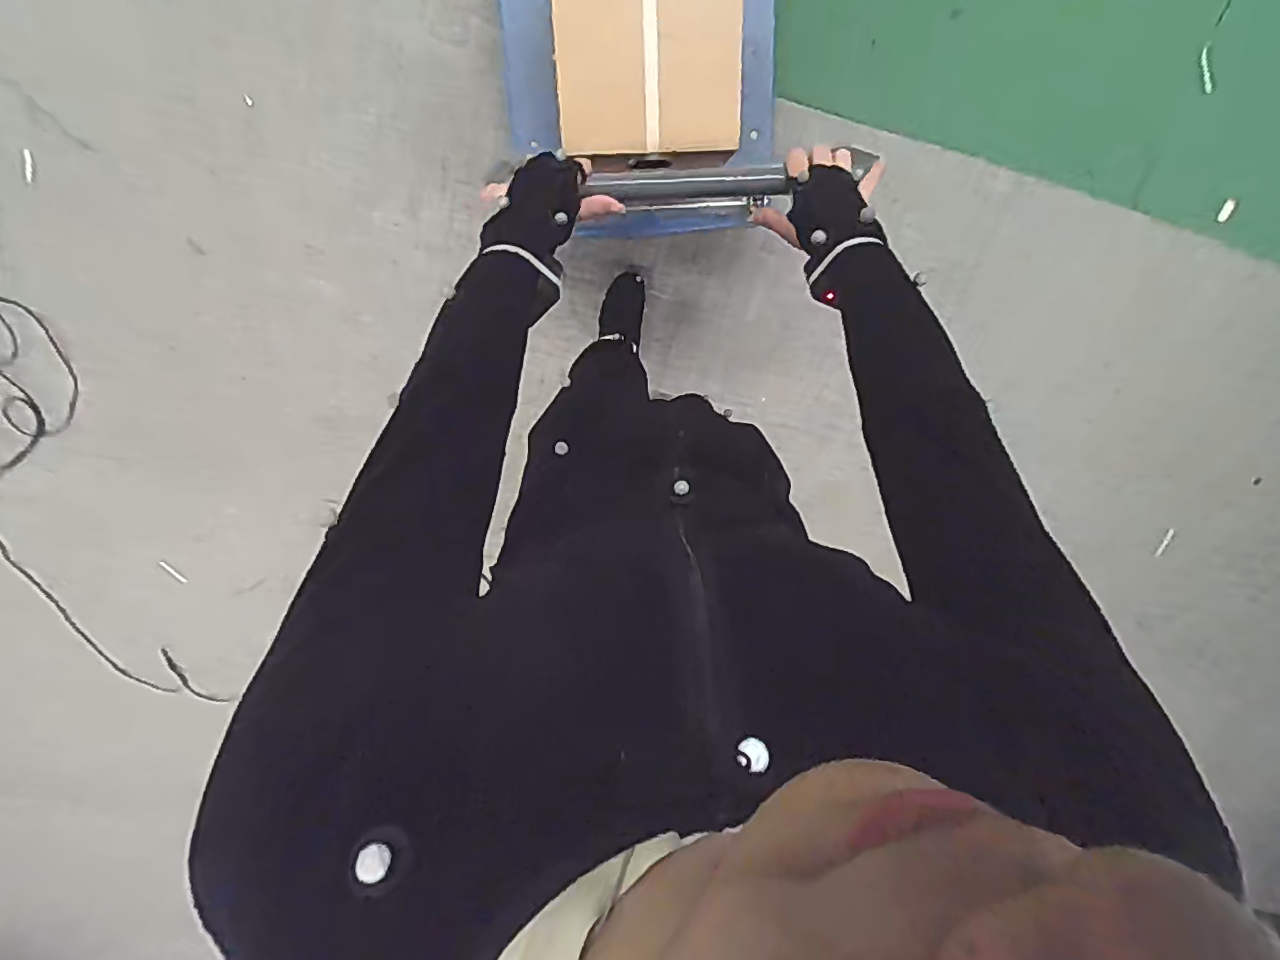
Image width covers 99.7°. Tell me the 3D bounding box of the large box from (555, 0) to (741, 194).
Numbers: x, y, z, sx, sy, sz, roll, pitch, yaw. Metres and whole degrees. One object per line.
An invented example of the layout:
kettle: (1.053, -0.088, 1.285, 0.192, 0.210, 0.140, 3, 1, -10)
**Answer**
large box: (0.010, -0.810, 1.044, 0.320, 0.320, 0.408, -3, 108, -2)
